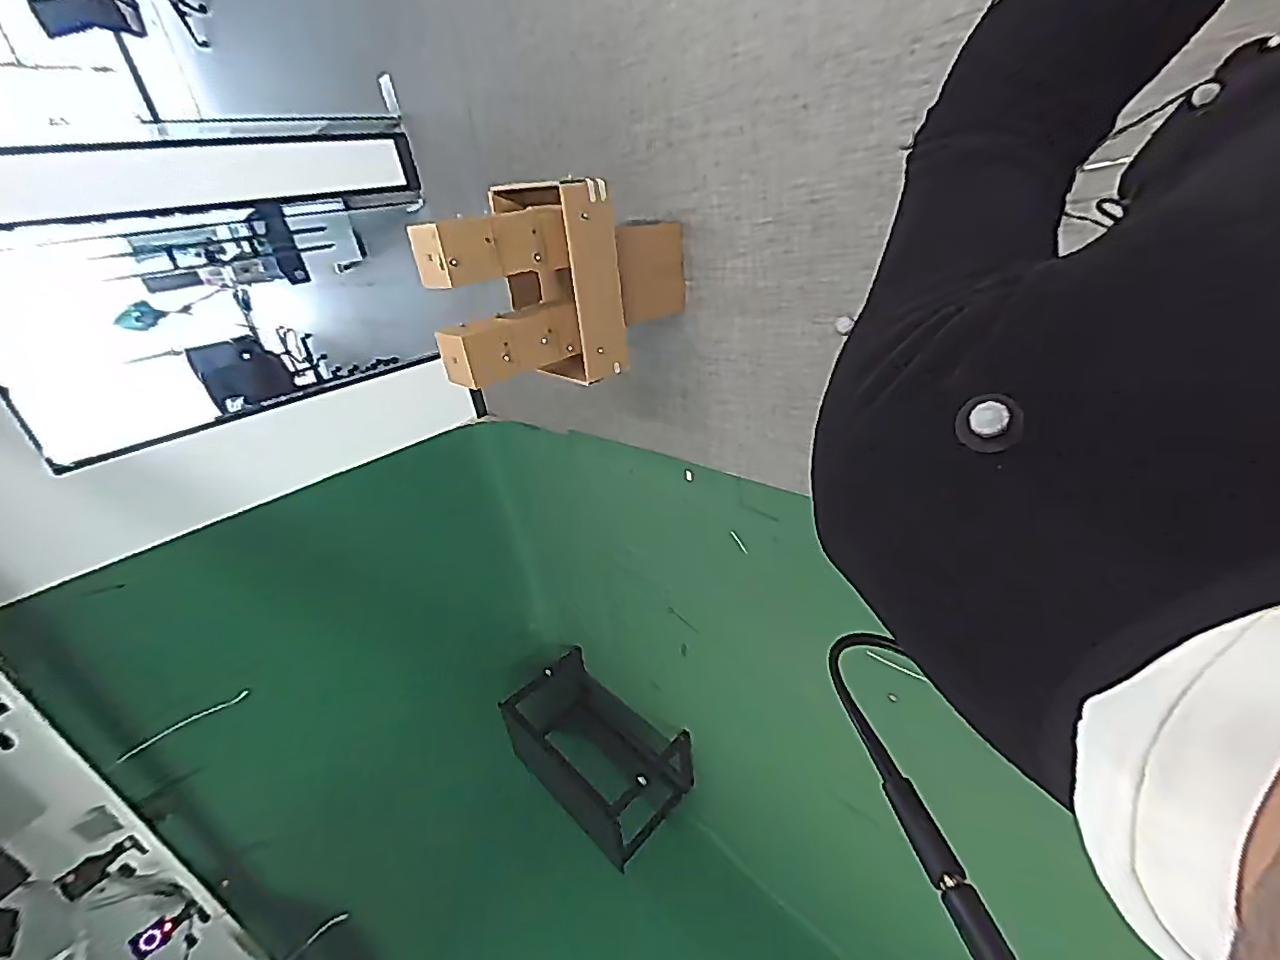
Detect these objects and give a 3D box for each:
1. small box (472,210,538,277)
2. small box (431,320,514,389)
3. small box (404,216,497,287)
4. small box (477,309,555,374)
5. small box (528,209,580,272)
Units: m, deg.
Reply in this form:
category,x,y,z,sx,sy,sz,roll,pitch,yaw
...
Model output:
category,x,y,z,sx,sy,sz,roll,pitch,yaw
small box,-0.428,-0.721,1.646,0.179,0.176,0.168,20,127,41
small box,-0.521,-0.399,1.693,0.179,0.176,0.168,21,129,41
small box,-0.538,-0.654,1.545,0.179,0.176,0.168,20,128,41
small box,-0.408,-0.464,1.792,0.179,0.176,0.168,20,128,41
small box,-0.318,-0.781,1.753,0.179,0.176,0.168,24,129,37
